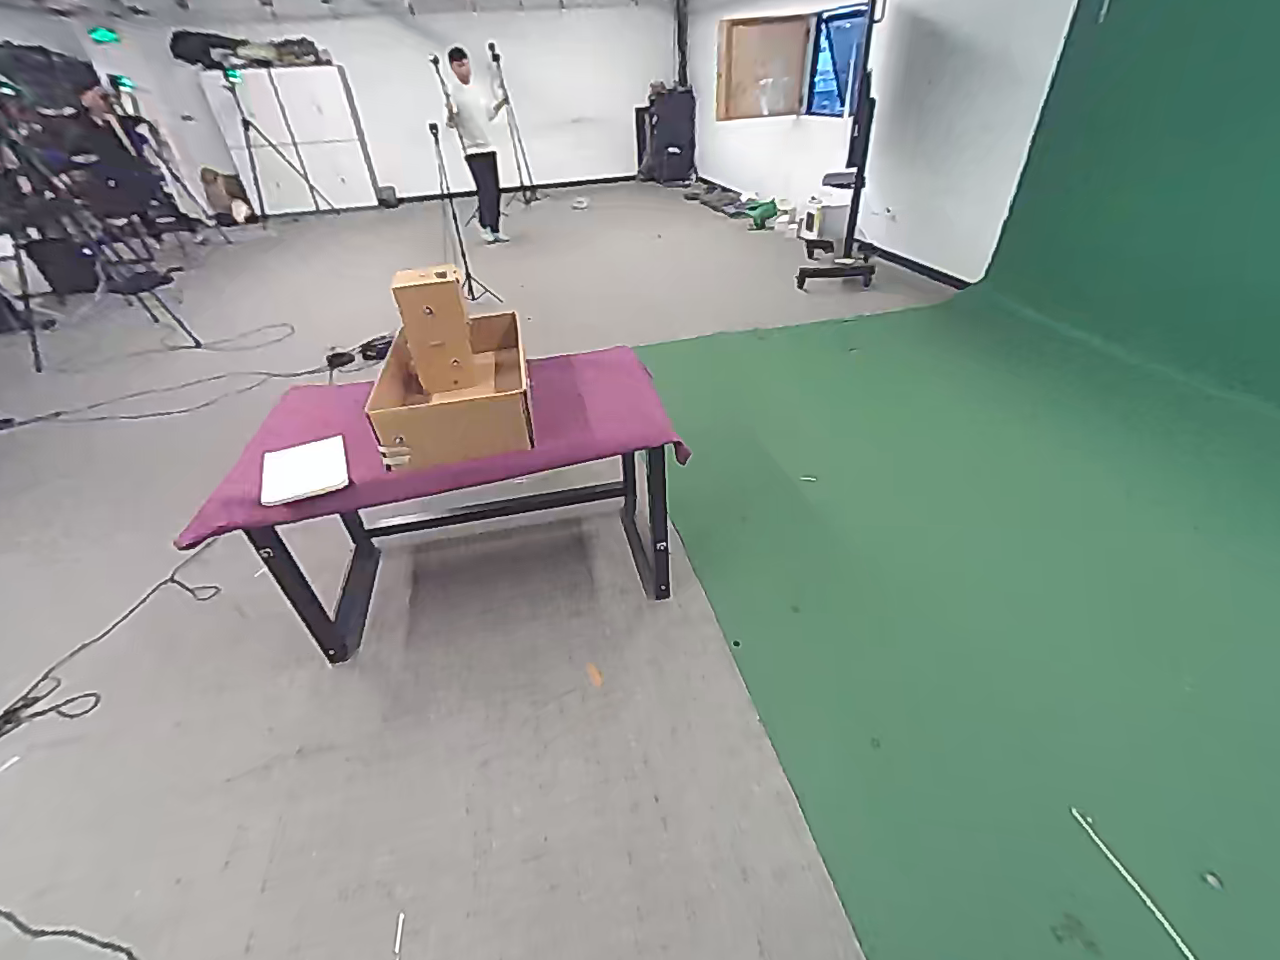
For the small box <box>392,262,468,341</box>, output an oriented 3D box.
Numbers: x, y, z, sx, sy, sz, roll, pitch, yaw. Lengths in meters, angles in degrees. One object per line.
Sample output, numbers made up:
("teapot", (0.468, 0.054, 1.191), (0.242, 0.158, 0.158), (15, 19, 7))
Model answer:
("small box", (-0.614, -0.529, 1.603), (0.179, 0.176, 0.168), (-11, 38, -10))
